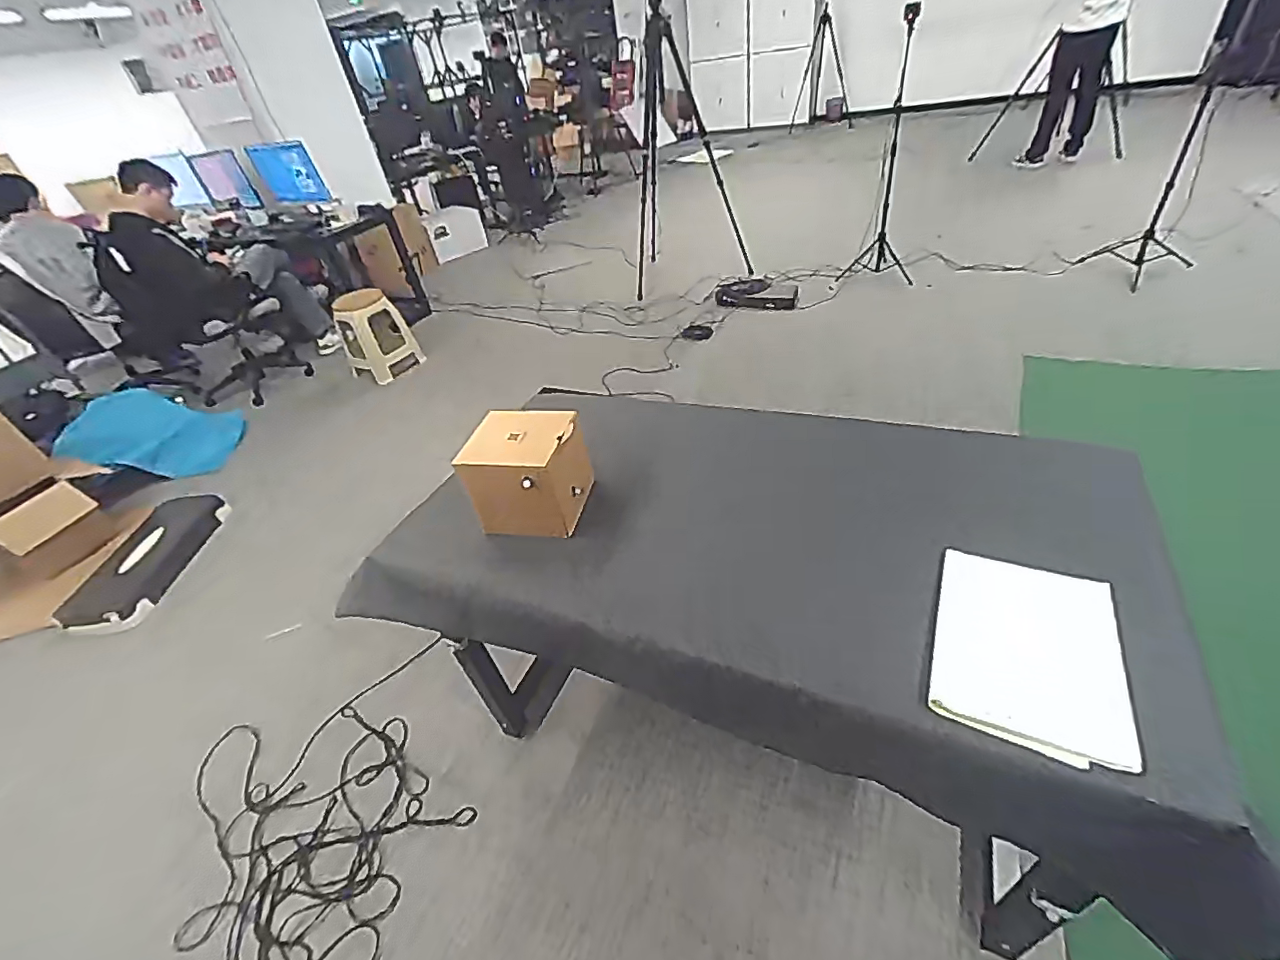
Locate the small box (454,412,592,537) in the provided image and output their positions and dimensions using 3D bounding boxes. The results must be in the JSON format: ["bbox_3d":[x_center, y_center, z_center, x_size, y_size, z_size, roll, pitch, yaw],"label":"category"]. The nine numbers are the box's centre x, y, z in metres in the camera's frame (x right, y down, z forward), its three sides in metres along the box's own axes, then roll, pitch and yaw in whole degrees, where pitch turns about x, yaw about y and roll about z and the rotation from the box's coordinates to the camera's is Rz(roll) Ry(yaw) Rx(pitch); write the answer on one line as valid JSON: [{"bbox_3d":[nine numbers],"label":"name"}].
[{"bbox_3d":[-0.202,-0.010,0.989,0.179,0.176,0.168,2,40,14],"label":"small box"}]
